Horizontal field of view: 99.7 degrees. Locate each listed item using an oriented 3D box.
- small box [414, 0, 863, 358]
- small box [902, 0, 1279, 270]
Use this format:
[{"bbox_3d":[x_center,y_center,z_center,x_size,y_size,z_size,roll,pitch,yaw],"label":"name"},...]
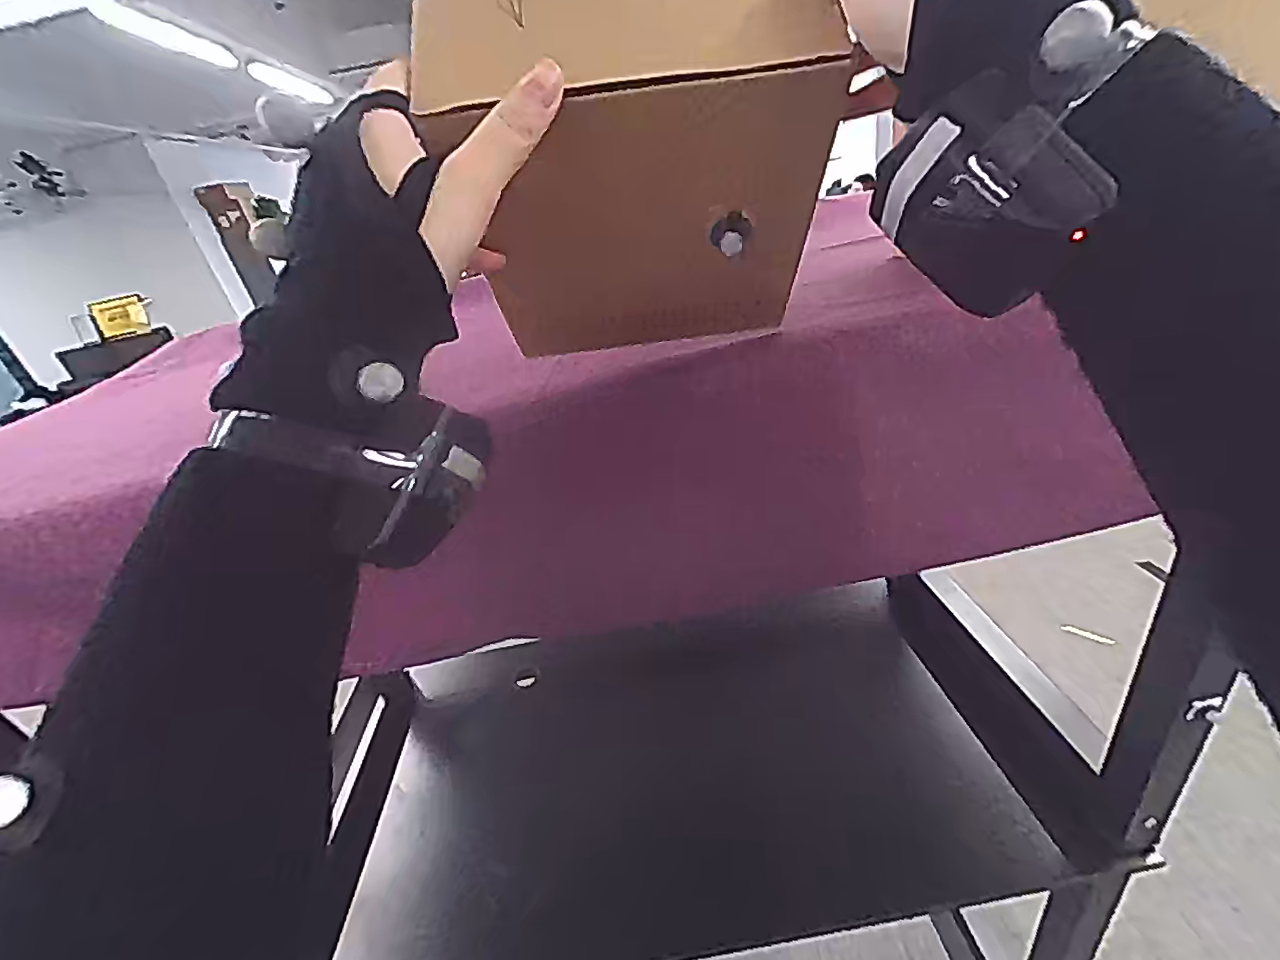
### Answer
[{"bbox_3d":[-0.003,-0.190,0.309,0.179,0.176,0.168,-7,67,2],"label":"small box"},{"bbox_3d":[0.302,-0.251,0.372,0.168,0.176,0.179,-16,28,-4],"label":"small box"}]
